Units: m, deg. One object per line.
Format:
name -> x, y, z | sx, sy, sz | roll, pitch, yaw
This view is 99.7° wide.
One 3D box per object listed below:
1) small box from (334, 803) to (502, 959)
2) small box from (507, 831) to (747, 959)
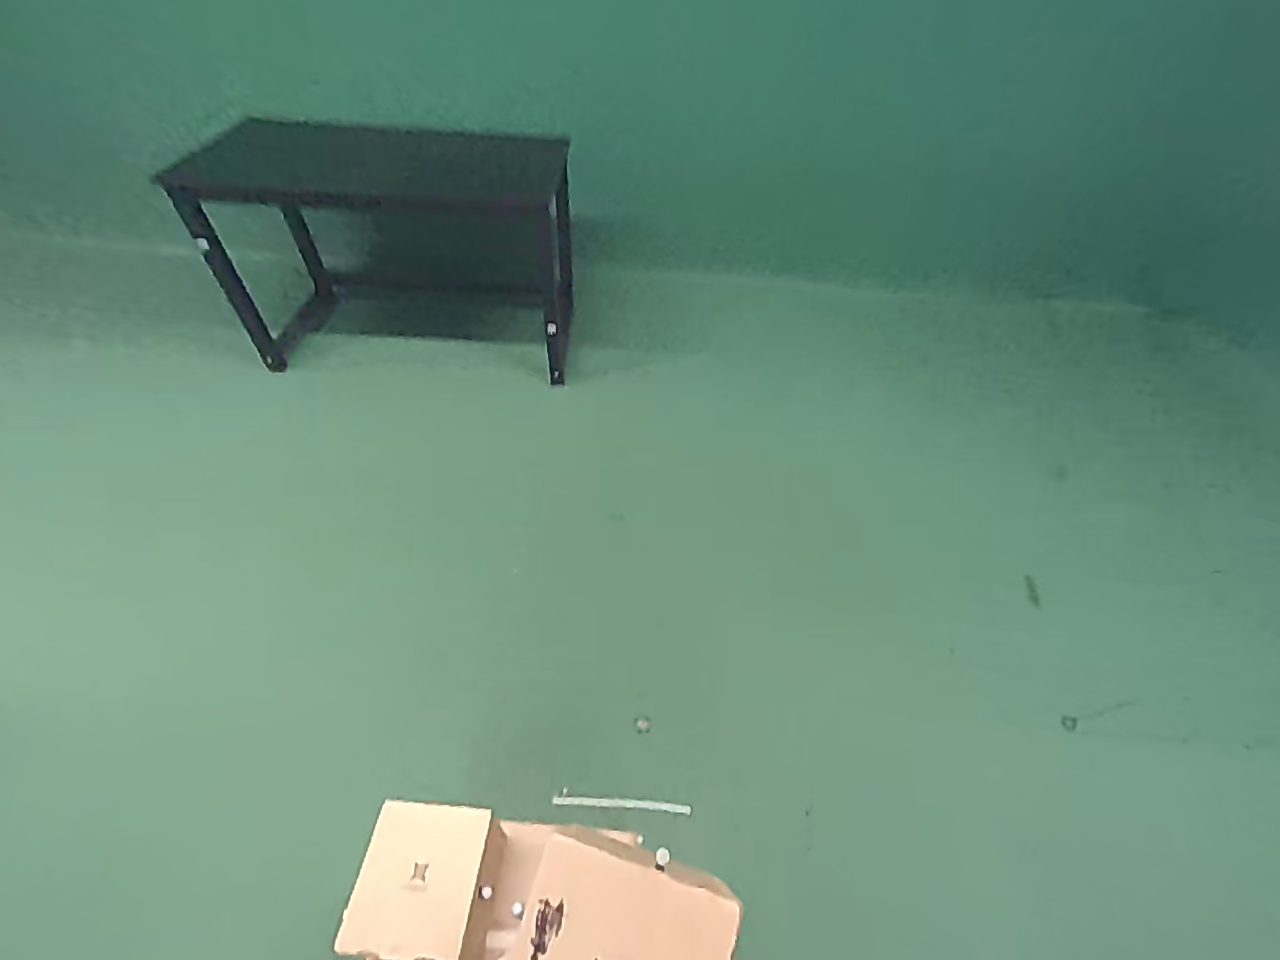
small box -> -0.310, 0.606, 0.803 | 0.168, 0.176, 0.179 | 5, 47, 1
small box -> -0.018, 0.431, 0.479 | 0.179, 0.176, 0.168 | 14, 61, 10
